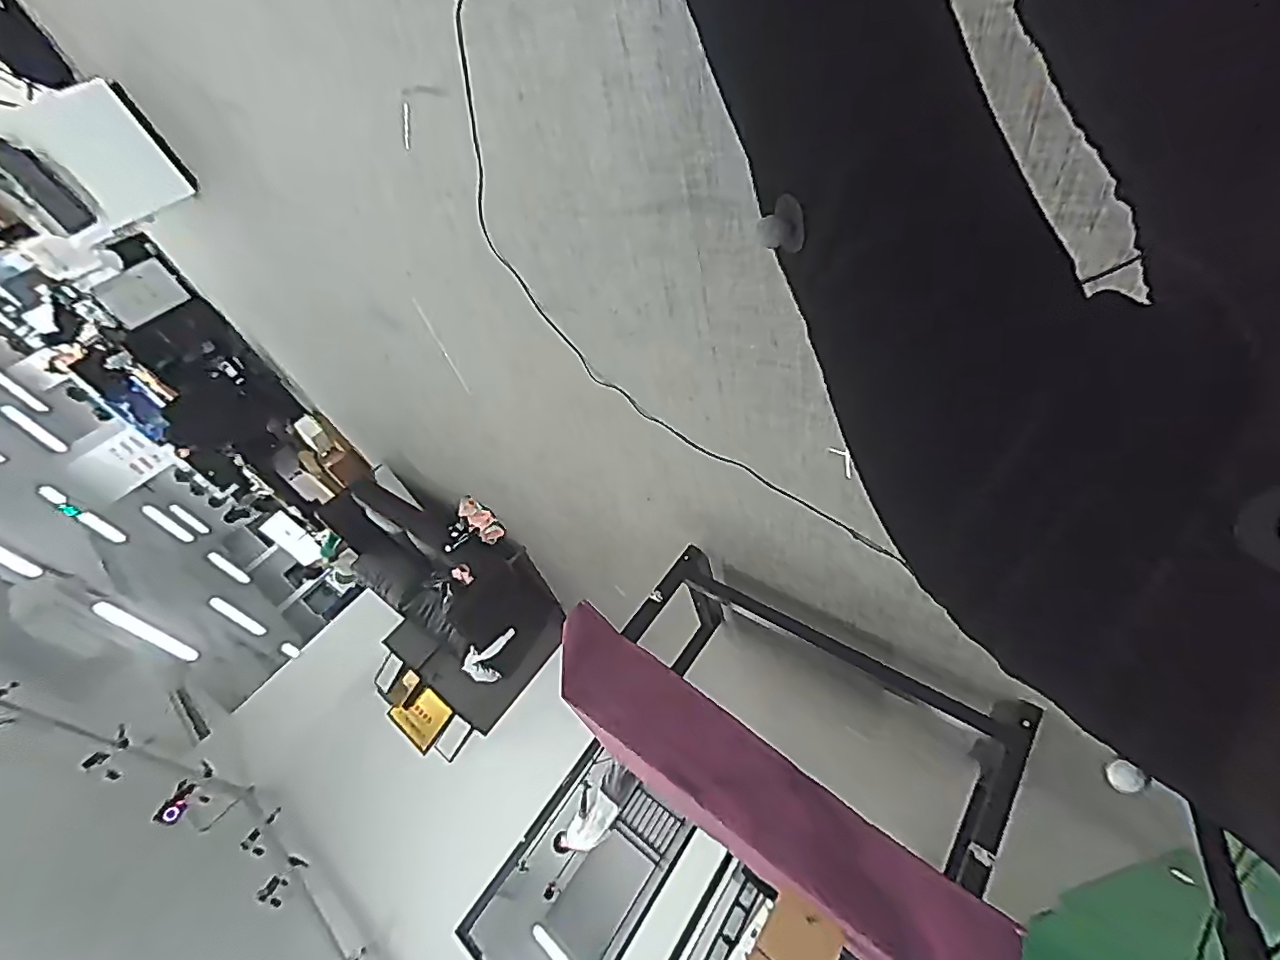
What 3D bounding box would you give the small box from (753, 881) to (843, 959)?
[{"bbox_3d":[0.433,1.236,1.475,0.179,0.176,0.168,22,148,37],"label":"small box"}]
